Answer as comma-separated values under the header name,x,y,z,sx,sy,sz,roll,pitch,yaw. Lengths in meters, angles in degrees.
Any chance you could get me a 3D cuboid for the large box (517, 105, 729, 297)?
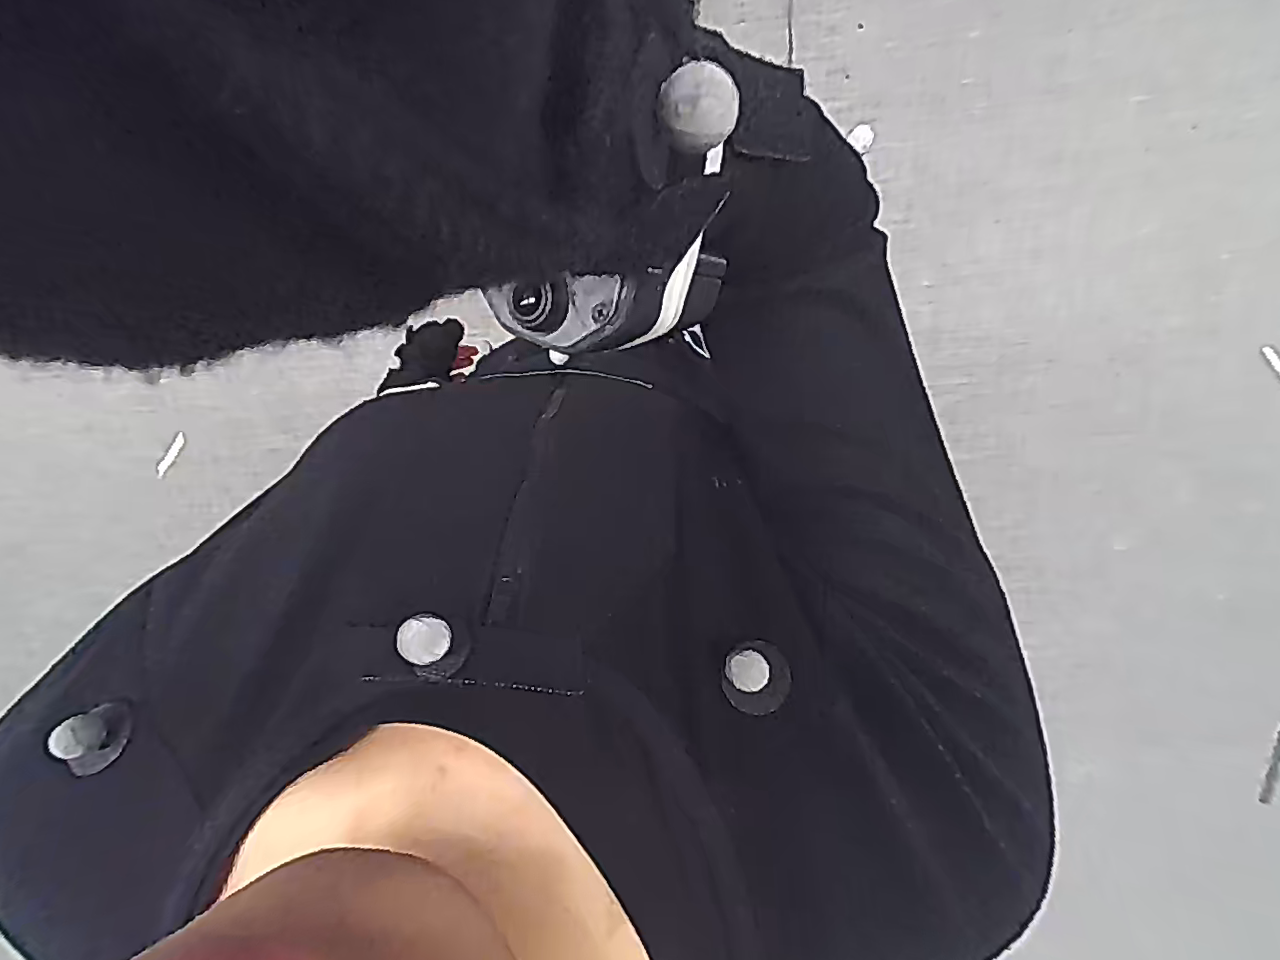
name,x,y,z,sx,sy,sz,roll,pitch,yaw
large box,-0.019,-0.576,1.185,0.408,0.320,0.320,0,105,4
